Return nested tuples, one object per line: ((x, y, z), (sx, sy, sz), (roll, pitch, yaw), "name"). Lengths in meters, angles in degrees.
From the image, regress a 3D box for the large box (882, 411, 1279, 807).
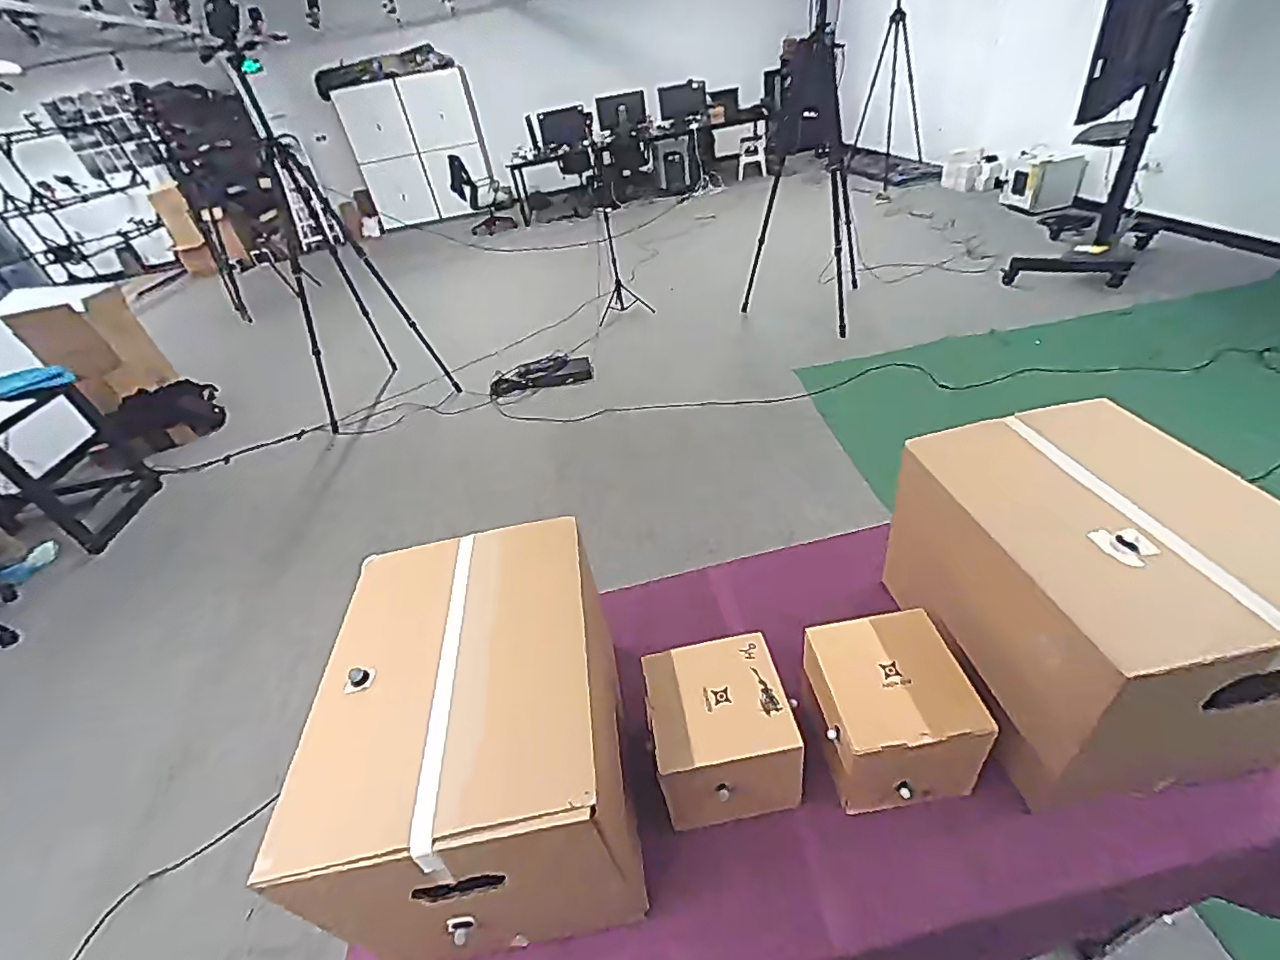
((0.595, 0.156, 0.749), (0.320, 0.320, 0.408), (-11, 38, 0), "large box")
